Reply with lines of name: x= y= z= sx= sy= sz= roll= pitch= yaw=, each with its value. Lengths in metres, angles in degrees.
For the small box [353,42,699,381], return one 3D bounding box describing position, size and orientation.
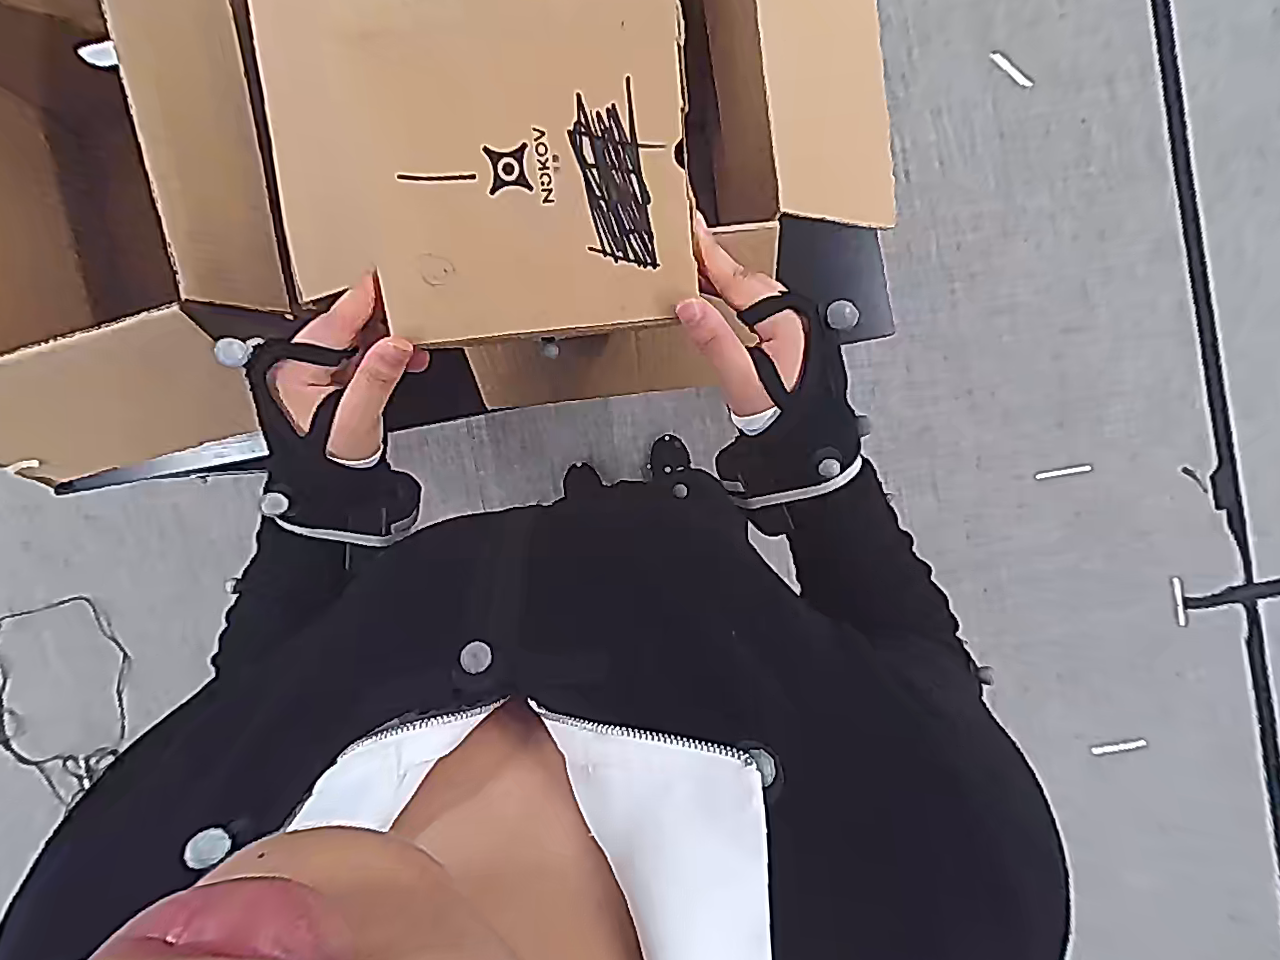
small box: x=-0.061 y=-0.165 z=0.381 sx=0.179 sy=0.176 sz=0.168 roll=-6 pitch=105 yaw=0
